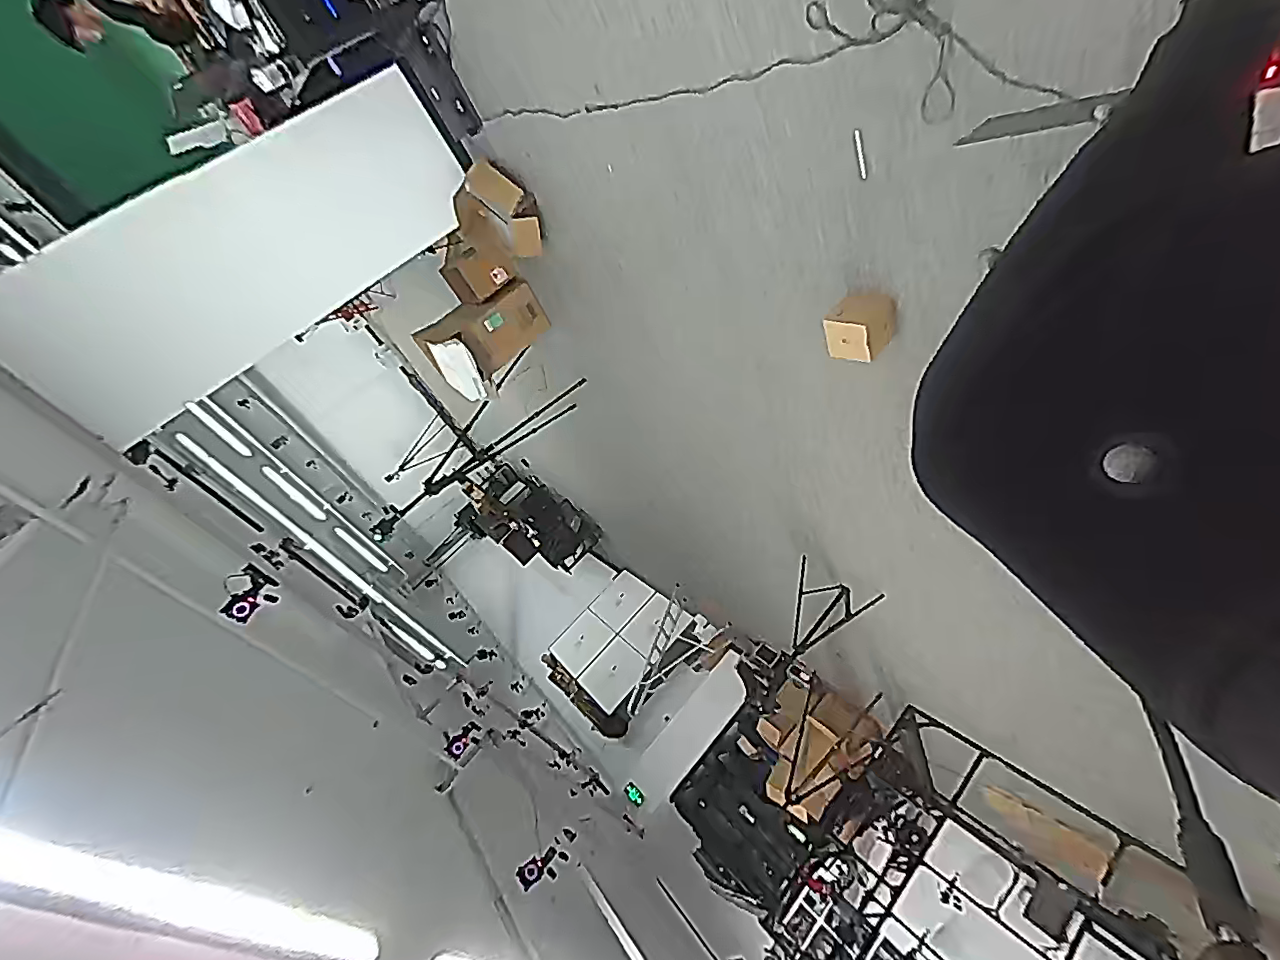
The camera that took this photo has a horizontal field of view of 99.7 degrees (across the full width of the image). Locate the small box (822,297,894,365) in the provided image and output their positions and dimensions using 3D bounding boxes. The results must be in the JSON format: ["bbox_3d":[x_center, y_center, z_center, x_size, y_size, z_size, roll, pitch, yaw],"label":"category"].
[{"bbox_3d":[0.799,-0.551,1.980,0.179,0.176,0.168,27,156,45],"label":"small box"}]
